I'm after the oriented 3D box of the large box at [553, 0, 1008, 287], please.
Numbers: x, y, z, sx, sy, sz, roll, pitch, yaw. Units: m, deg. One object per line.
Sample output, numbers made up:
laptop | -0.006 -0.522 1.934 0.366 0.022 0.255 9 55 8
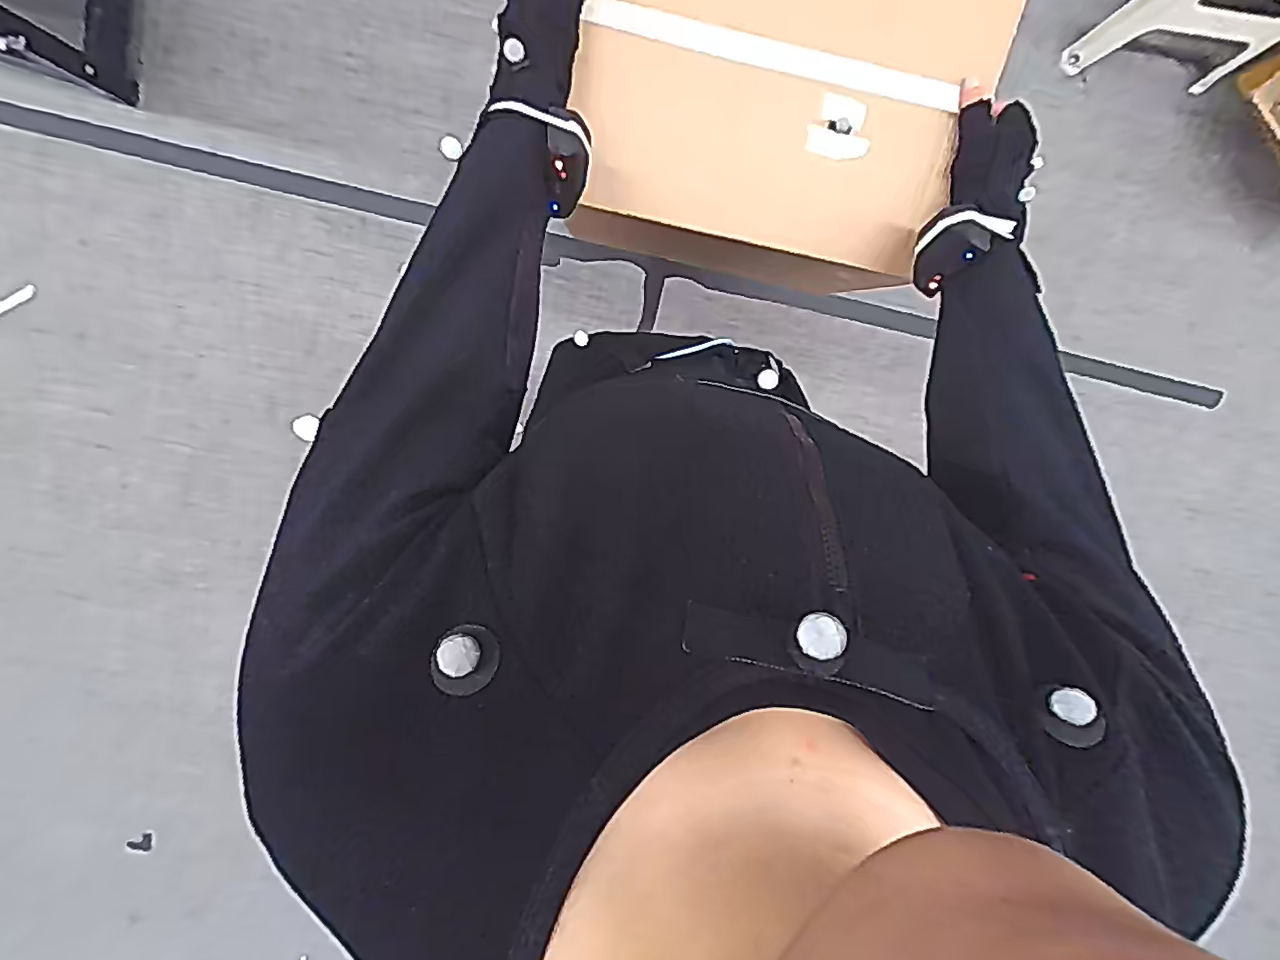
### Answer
large box | 0.124 -0.437 0.657 0.408 0.320 0.320 10 108 -6
